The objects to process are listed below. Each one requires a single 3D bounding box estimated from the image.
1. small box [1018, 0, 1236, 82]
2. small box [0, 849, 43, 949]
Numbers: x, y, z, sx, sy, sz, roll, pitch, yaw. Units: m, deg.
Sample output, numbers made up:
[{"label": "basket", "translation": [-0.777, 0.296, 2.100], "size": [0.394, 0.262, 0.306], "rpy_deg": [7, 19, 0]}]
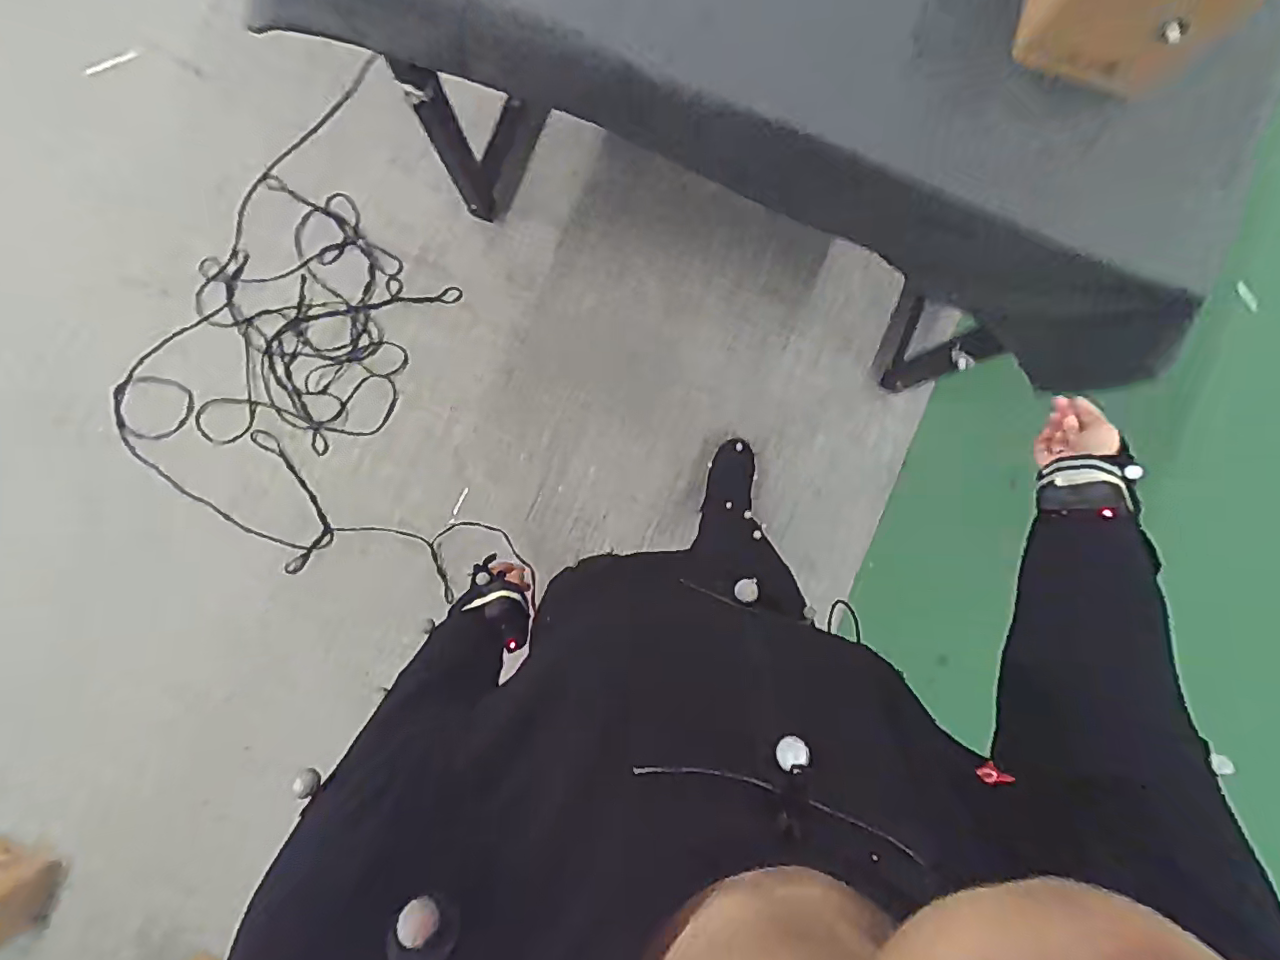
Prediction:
[{"label": "small box", "translation": [0.544, -0.575, 0.569], "size": [0.168, 0.176, 0.179], "rpy_deg": [15, 87, -3]}, {"label": "small box", "translation": [-1.499, 0.964, 1.190], "size": [0.168, 0.176, 0.179], "rpy_deg": [20, 87, -1]}]
